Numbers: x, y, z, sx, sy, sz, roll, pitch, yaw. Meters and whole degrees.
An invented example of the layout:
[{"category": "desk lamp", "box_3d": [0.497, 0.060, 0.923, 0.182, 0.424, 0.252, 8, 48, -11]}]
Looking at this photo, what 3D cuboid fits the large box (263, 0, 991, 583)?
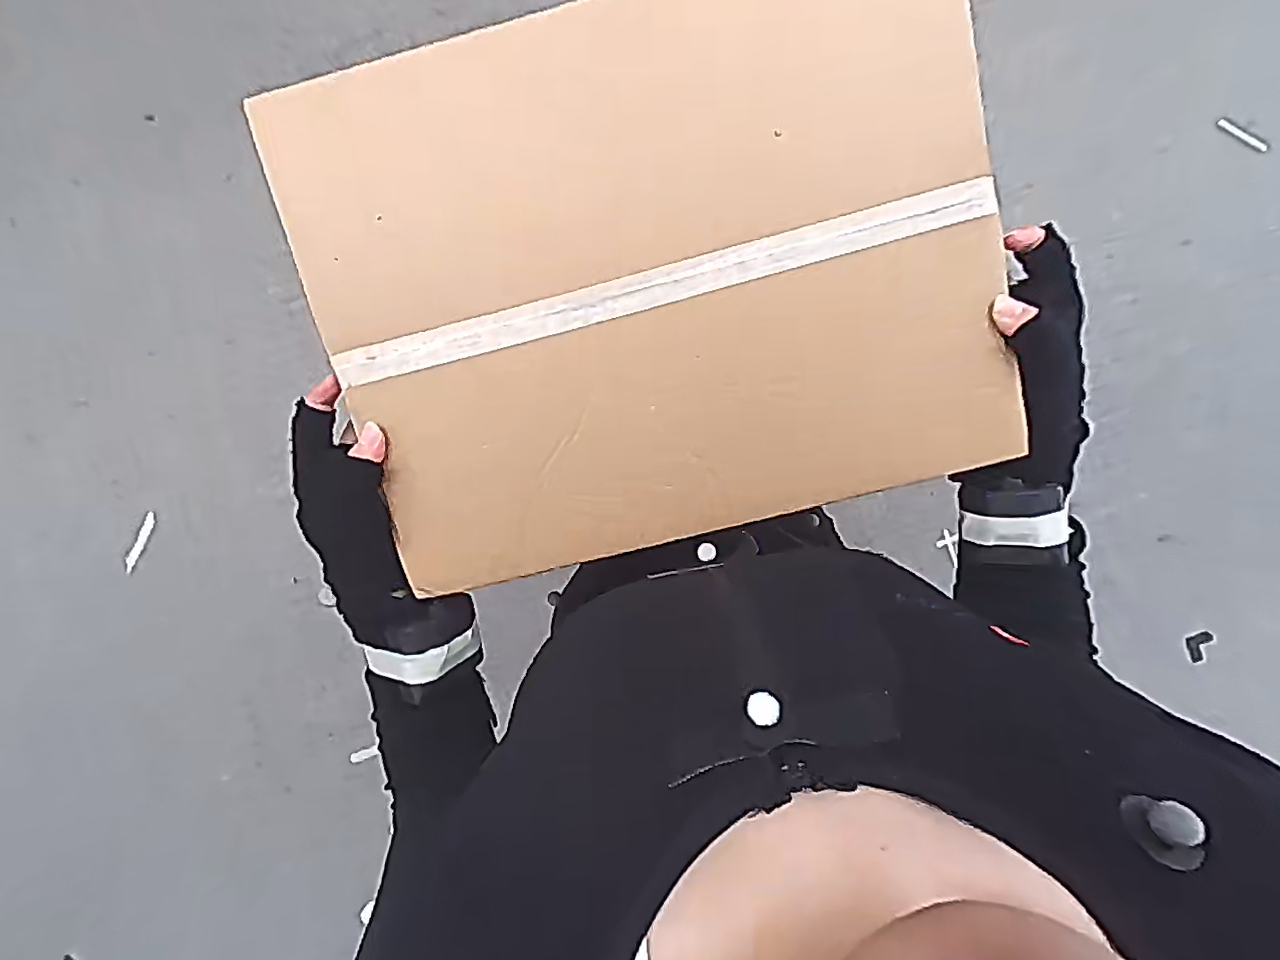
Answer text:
[{"category": "large box", "box_3d": [0.005, -0.150, 0.483, 0.408, 0.320, 0.320, -14, 100, 3]}]
